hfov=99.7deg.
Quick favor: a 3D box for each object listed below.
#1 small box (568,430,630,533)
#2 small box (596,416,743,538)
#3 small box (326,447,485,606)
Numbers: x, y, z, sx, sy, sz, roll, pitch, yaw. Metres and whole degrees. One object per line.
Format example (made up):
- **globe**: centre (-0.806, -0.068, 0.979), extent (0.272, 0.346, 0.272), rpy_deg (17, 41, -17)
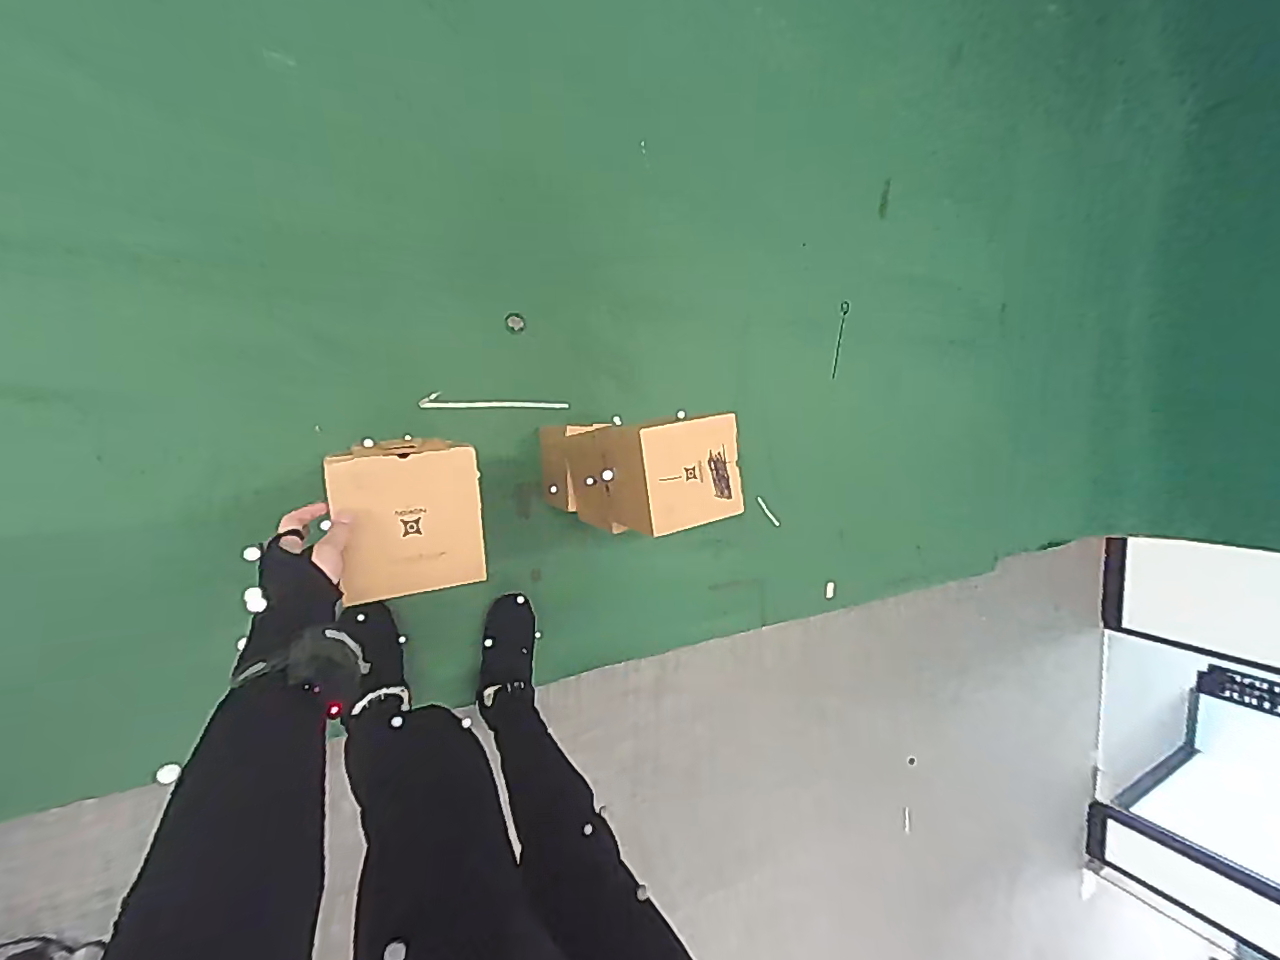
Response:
- **small box**: centre (-0.027, -0.013, 1.046), extent (0.168, 0.176, 0.179), rpy_deg (-15, 103, -25)
- **small box**: centre (0.046, -0.016, 0.897), extent (0.179, 0.176, 0.168), rpy_deg (-12, 101, -25)
- **small box**: centre (-0.311, 0.047, 0.722), extent (0.168, 0.176, 0.179), rpy_deg (-7, 98, -25)
